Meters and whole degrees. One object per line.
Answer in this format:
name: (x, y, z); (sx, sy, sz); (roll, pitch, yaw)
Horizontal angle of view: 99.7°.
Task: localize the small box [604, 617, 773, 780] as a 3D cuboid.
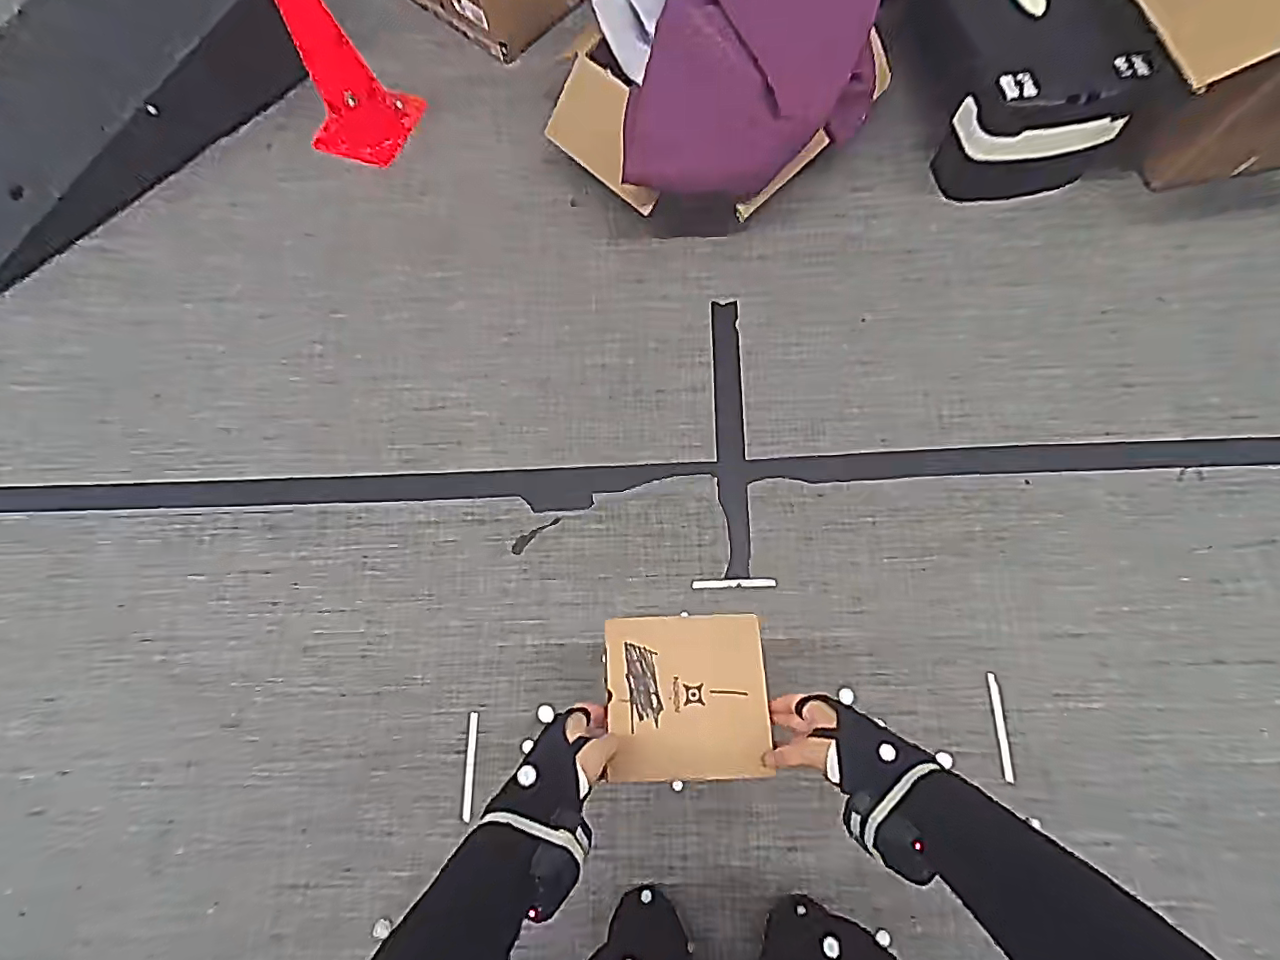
small box: (0.052, 0.264, 0.658); (0.179, 0.176, 0.168); (-2, 67, 1)
